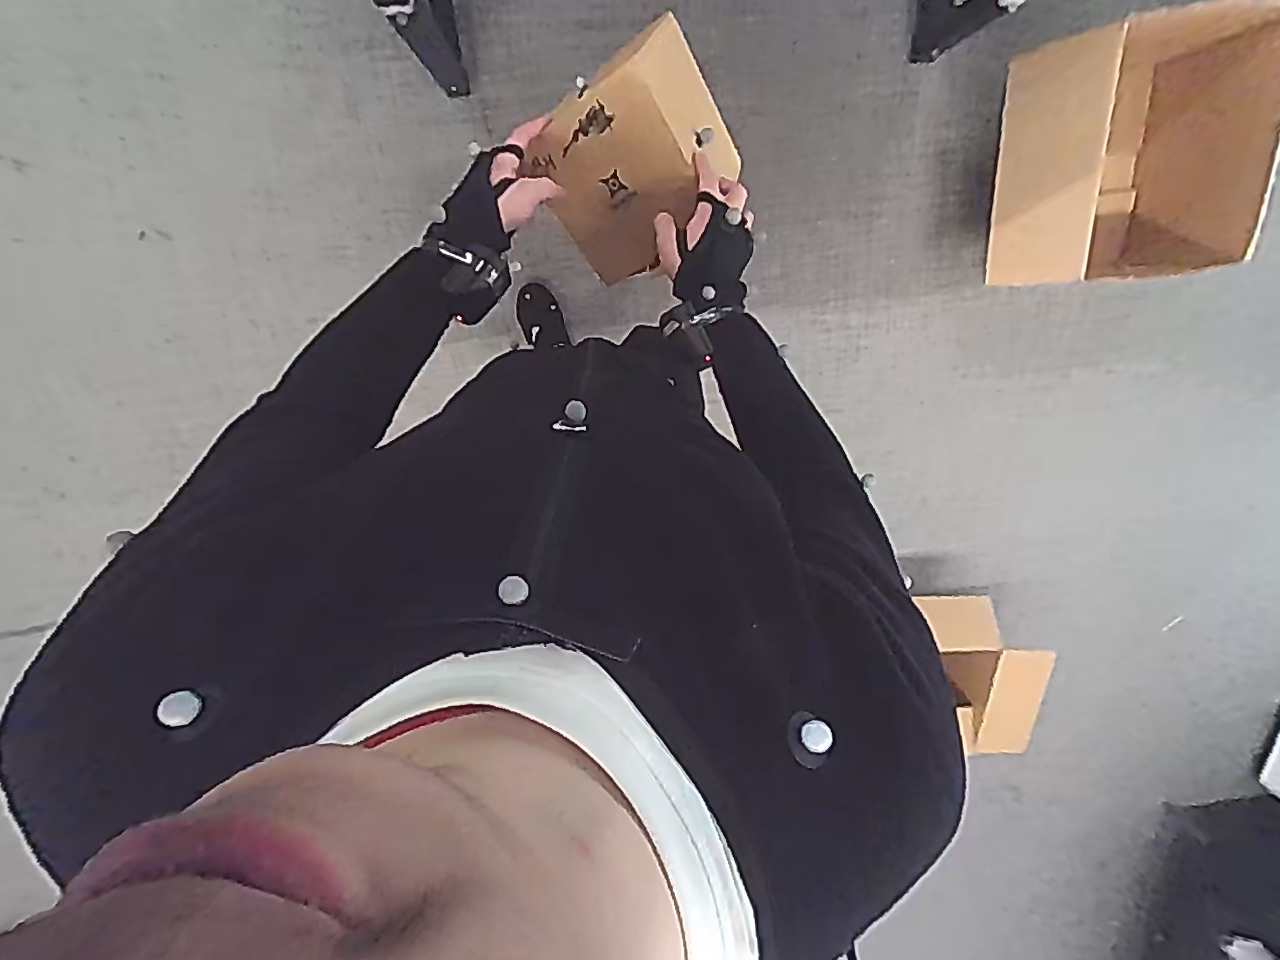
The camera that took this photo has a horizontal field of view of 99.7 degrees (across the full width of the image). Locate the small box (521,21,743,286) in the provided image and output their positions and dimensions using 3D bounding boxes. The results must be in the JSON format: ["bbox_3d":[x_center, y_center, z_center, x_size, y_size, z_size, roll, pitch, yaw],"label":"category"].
[{"bbox_3d":[0.005,-0.365,0.618,0.168,0.176,0.179,-13,134,34],"label":"small box"}]
